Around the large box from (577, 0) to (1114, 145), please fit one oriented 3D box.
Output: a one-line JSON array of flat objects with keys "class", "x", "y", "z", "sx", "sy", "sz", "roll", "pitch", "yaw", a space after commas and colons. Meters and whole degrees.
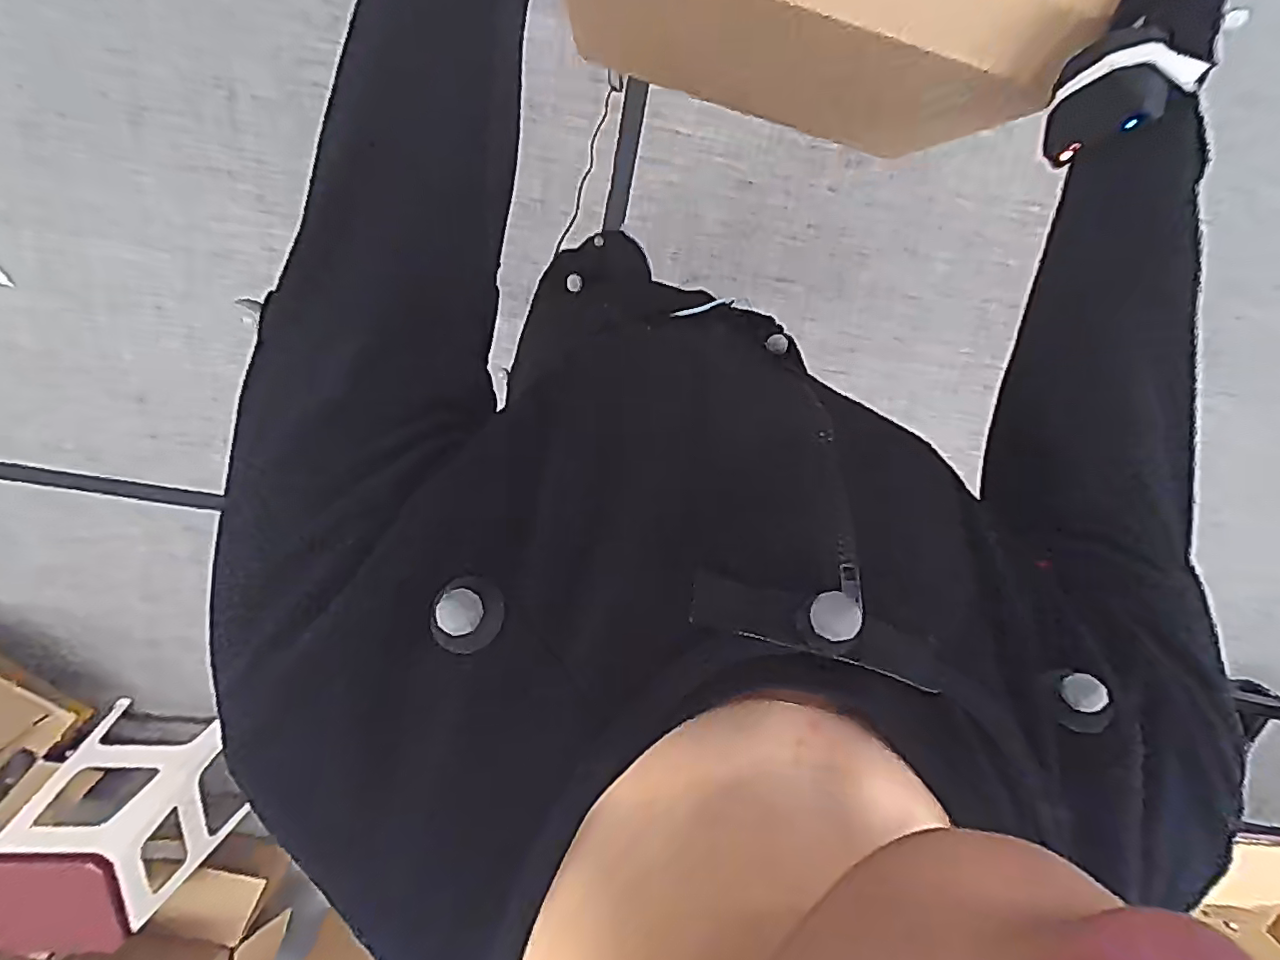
[{"class": "large box", "x": 0.167, "y": -0.533, "z": 0.459, "sx": 0.408, "sy": 0.320, "sz": 0.320, "roll": 13, "pitch": 114, "yaw": -7}]
